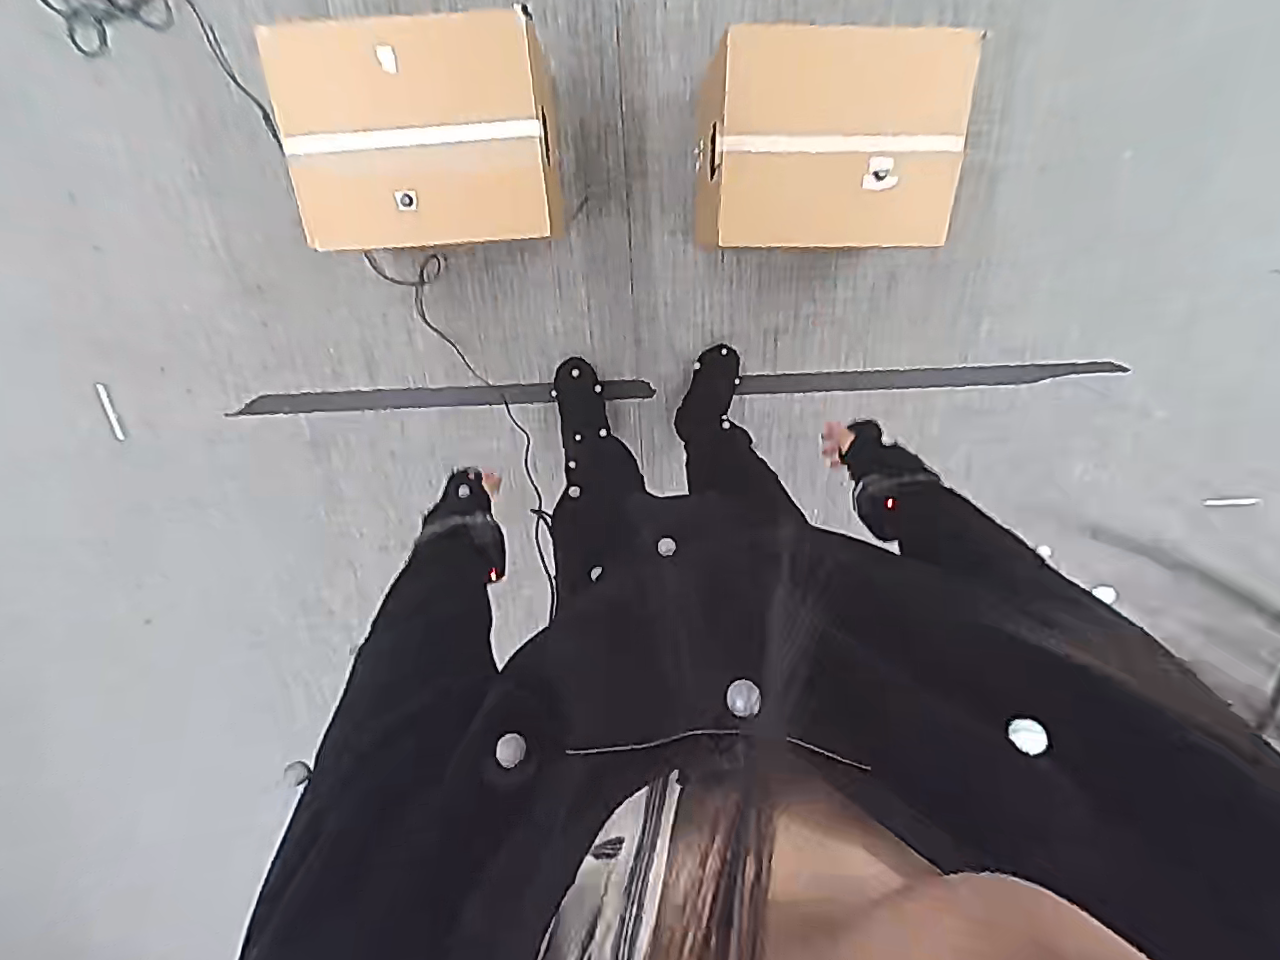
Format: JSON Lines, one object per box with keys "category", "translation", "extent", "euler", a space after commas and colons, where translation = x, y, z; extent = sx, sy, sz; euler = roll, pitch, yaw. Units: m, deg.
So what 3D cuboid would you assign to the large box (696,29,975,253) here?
{"category": "large box", "translation": [0.327, -0.613, 1.039], "extent": [0.408, 0.320, 0.320], "euler": [-1, 112, -3]}
